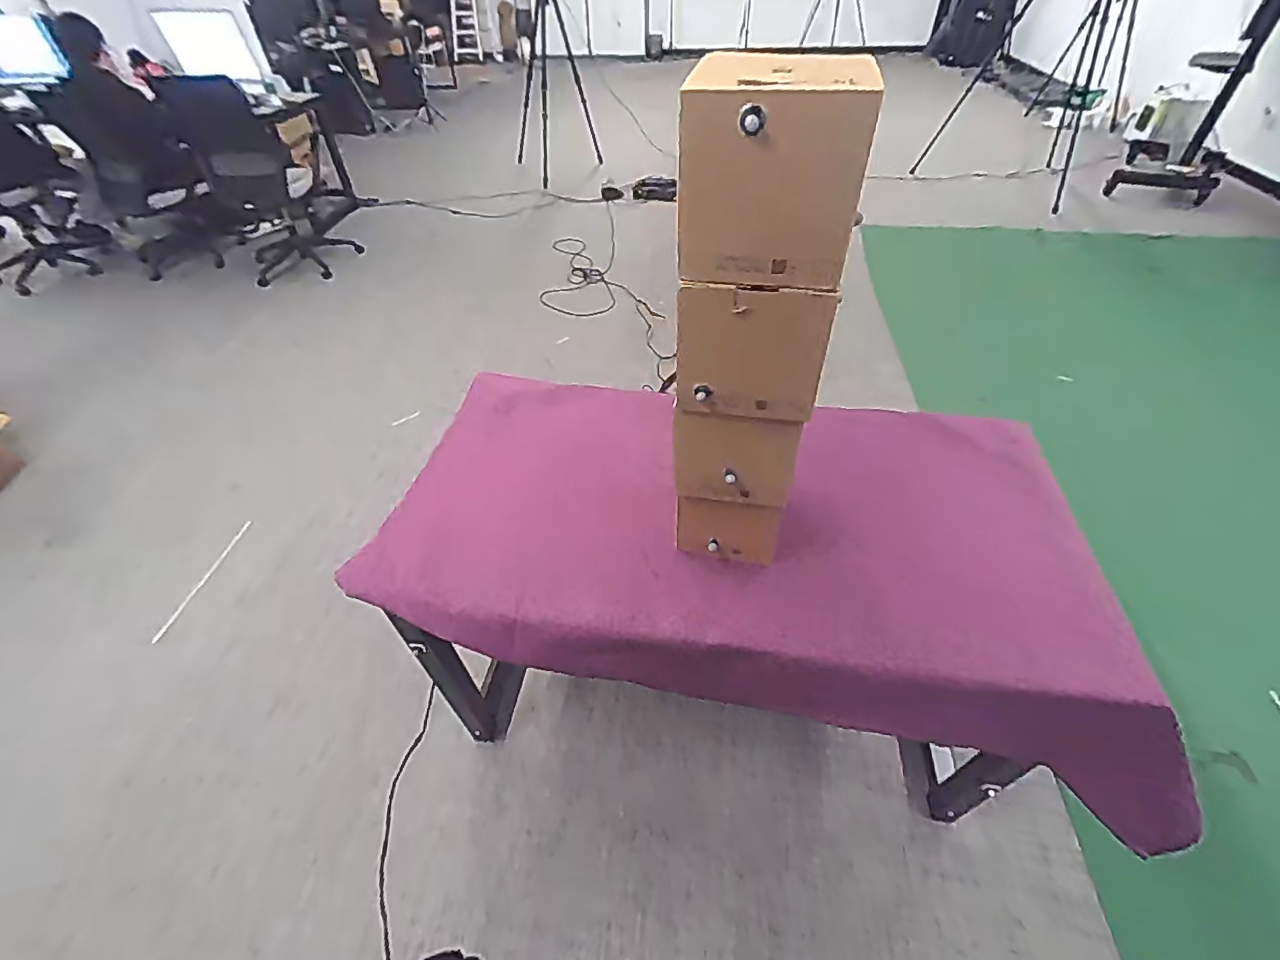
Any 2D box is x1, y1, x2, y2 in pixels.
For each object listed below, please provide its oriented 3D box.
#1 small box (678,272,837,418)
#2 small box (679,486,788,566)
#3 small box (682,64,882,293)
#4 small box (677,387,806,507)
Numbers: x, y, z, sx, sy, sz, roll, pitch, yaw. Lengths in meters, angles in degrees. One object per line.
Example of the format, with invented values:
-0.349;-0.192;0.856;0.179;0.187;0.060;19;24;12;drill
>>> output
0.143;-0.196;0.672;0.168;0.176;0.179;7;45;10;small box
0.159;0.018;0.921;0.168;0.176;0.179;8;47;11;small box
0.138;-0.315;0.560;0.168;0.176;0.179;8;45;12;small box
0.147;-0.087;0.795;0.168;0.176;0.179;6;46;10;small box
